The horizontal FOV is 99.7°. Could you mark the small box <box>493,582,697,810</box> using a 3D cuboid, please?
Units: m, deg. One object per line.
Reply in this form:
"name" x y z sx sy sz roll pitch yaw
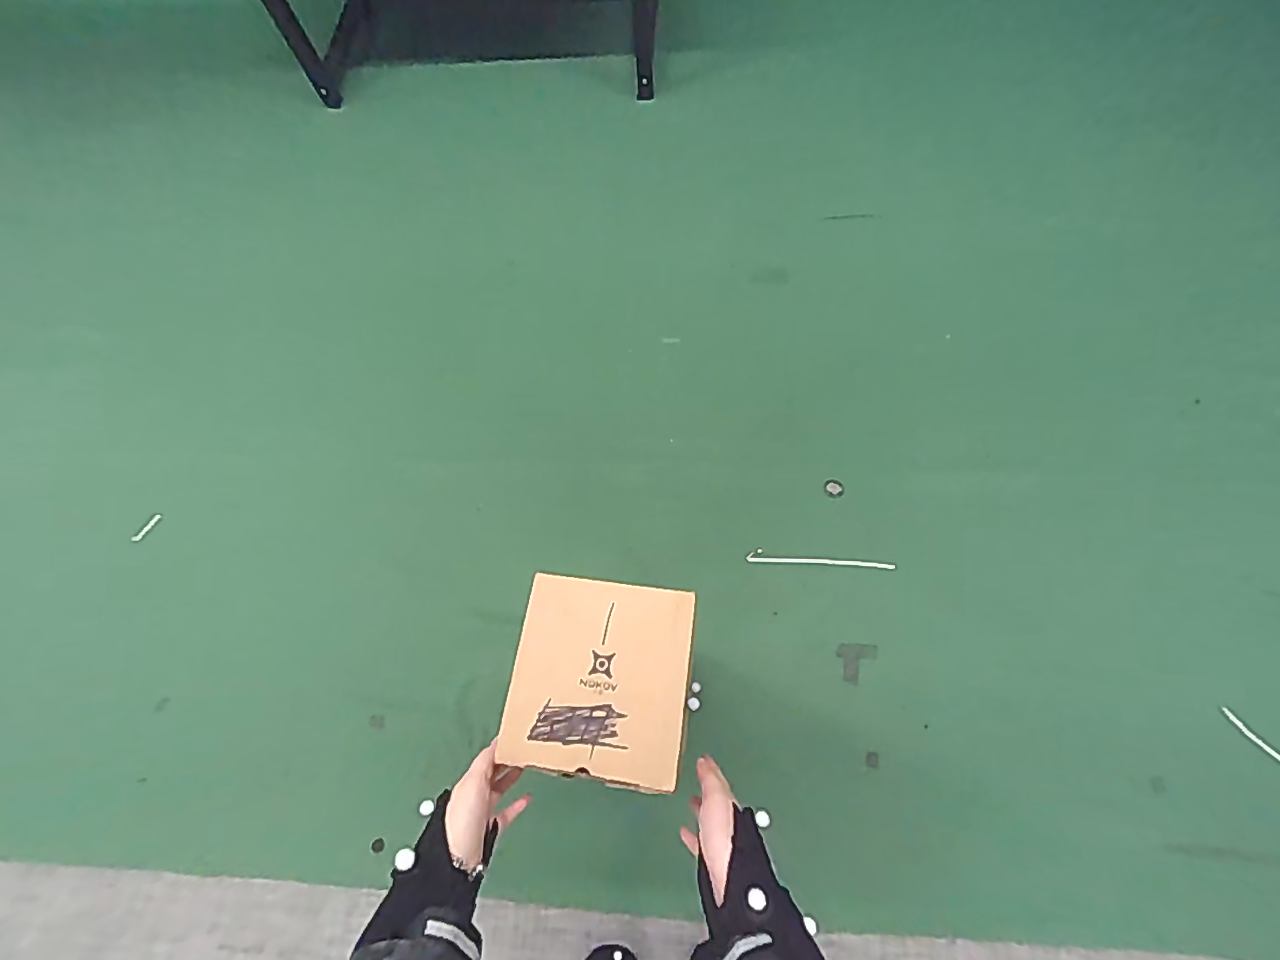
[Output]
"small box" -0.031 0.221 0.569 0.168 0.176 0.179 7 66 8
